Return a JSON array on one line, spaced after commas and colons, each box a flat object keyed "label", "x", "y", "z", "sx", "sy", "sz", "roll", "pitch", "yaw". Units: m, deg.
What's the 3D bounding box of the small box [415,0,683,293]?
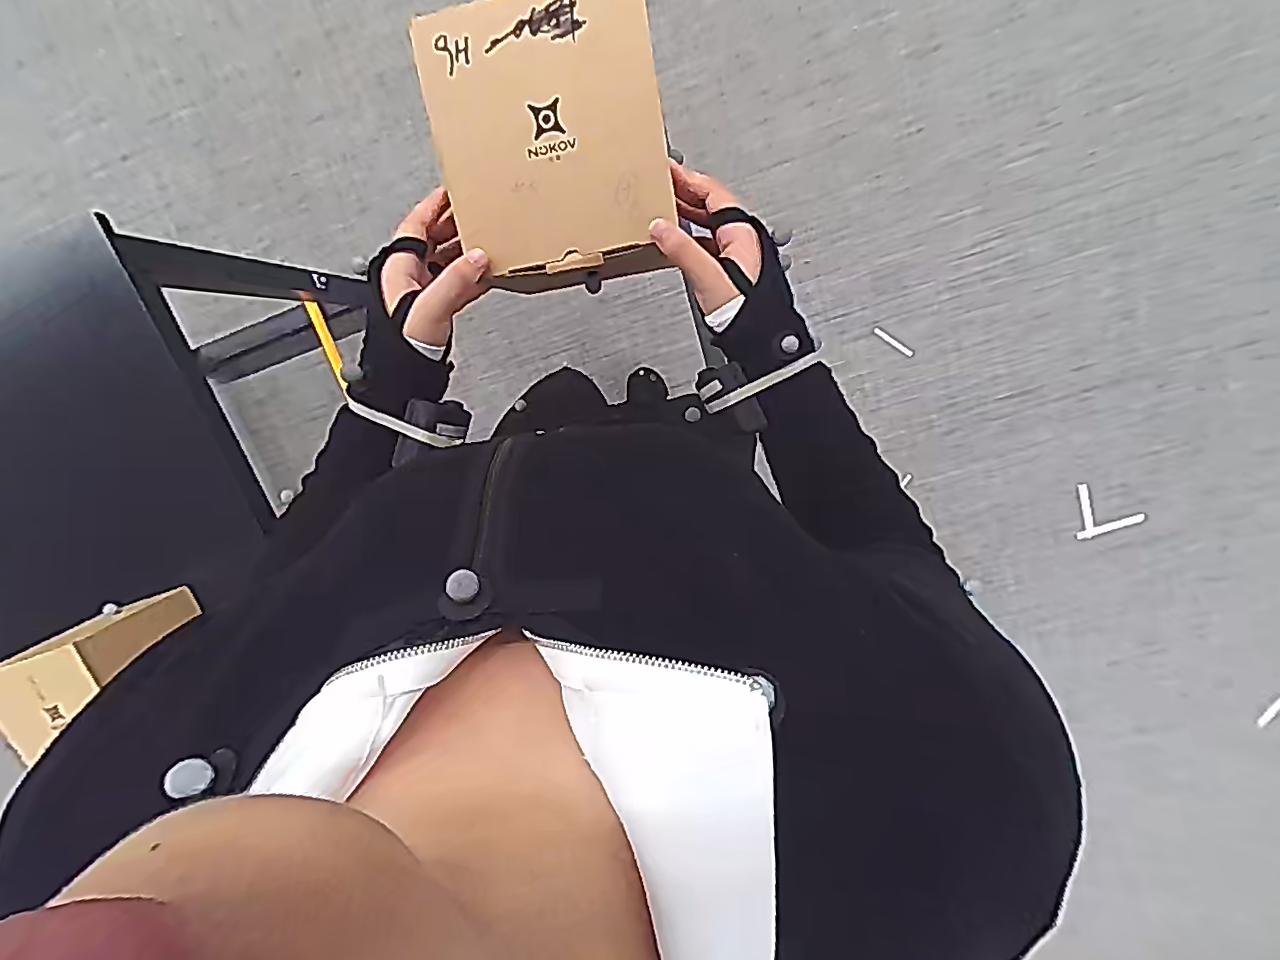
[{"label": "small box", "x": -0.056, "y": -0.264, "z": 0.464, "sx": 0.168, "sy": 0.176, "sz": 0.179, "roll": -9, "pitch": 106, "yaw": 7}]

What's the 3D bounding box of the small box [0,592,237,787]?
[{"label": "small box", "x": -0.733, "y": 0.288, "z": 0.768, "sx": 0.168, "sy": 0.176, "sz": 0.179, "roll": -18, "pitch": 102, "yaw": 7}]
